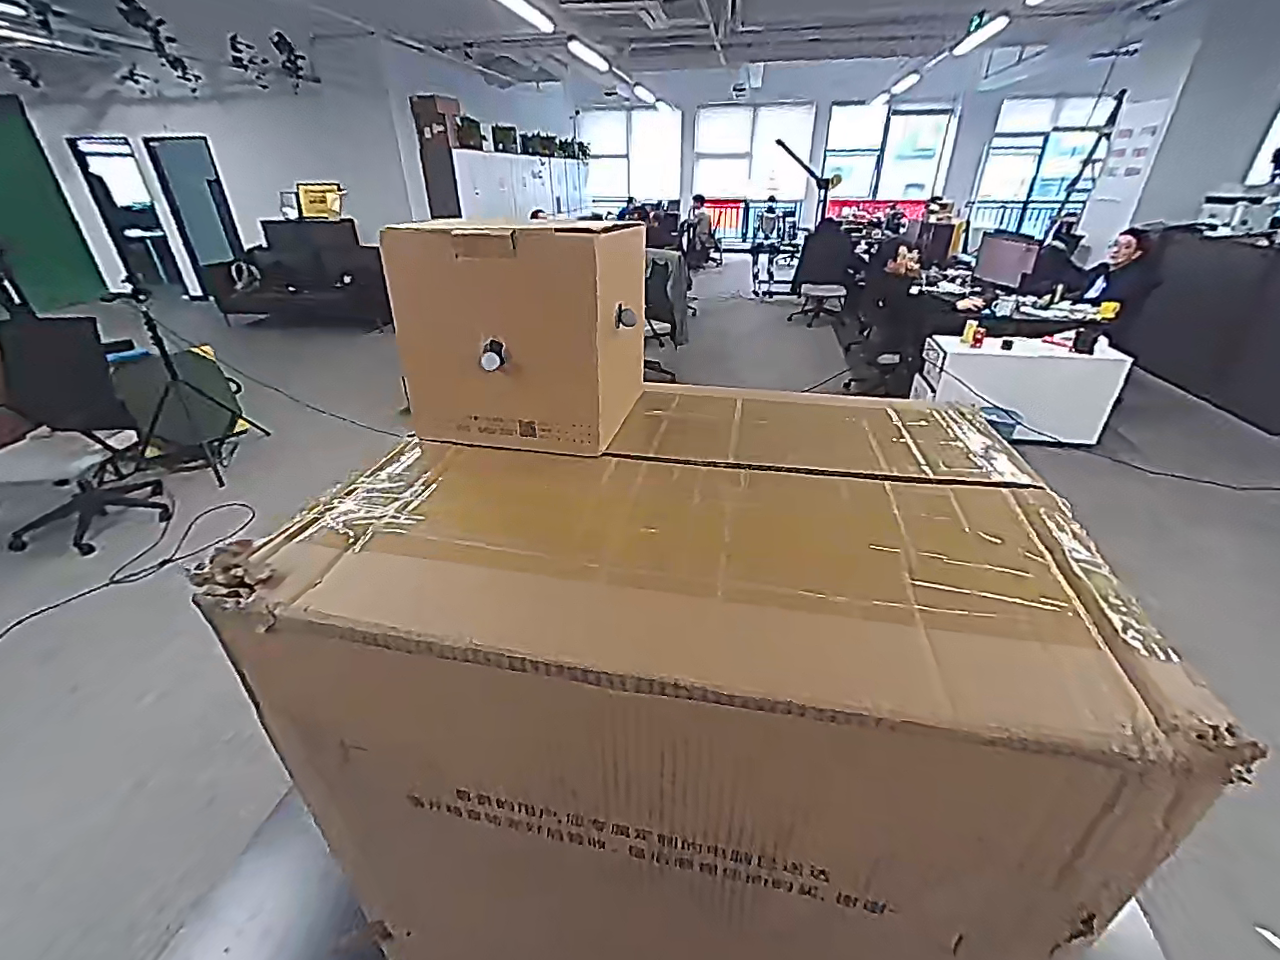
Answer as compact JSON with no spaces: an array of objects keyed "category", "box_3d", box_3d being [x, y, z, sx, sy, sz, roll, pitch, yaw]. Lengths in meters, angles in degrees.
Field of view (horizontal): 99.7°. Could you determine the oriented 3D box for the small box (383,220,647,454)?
[{"category":"small box","box_3d":[-0.088,-0.134,0.482,0.168,0.176,0.179,6,29,10]}]
